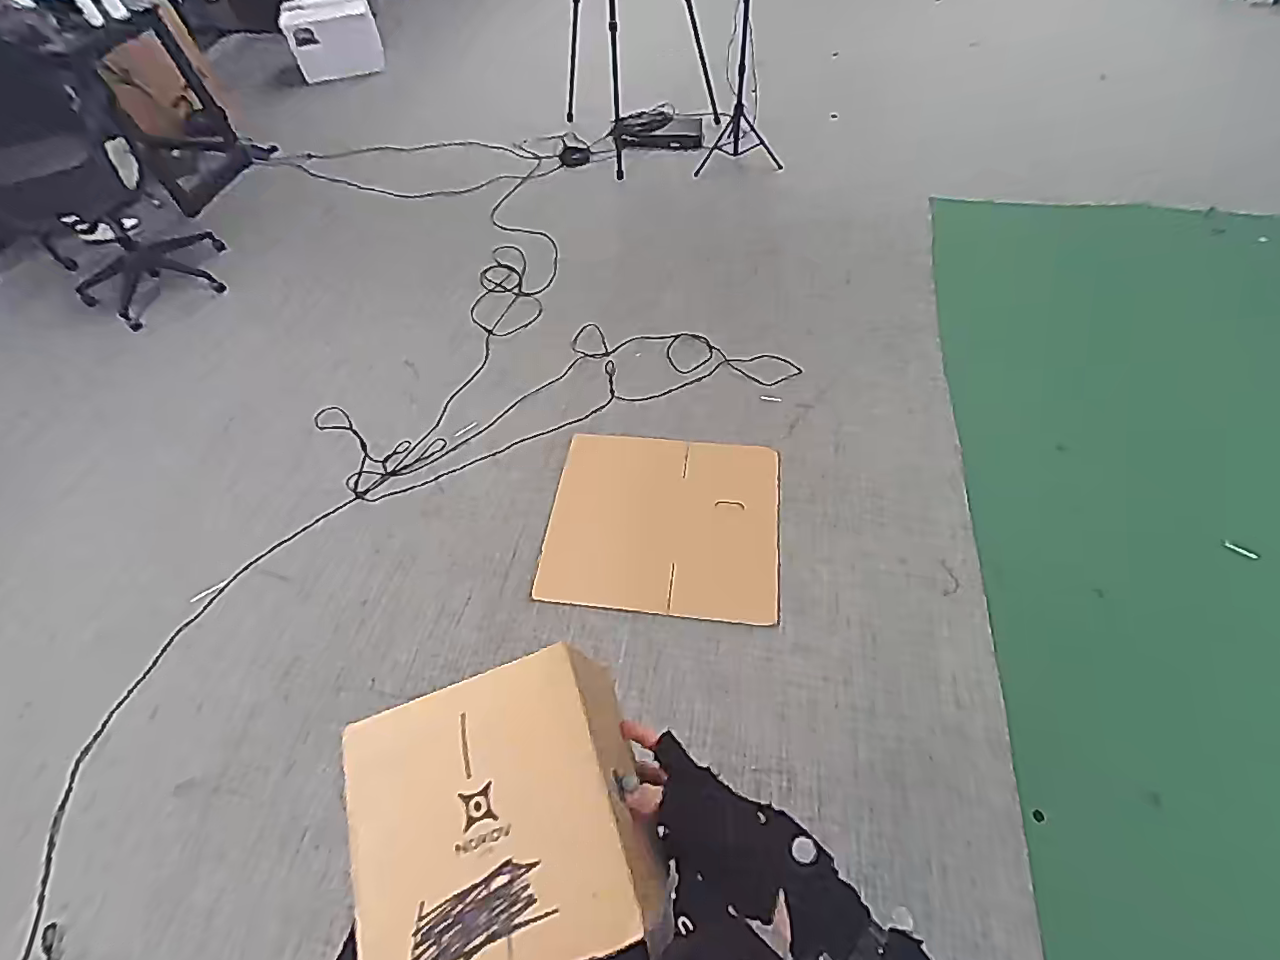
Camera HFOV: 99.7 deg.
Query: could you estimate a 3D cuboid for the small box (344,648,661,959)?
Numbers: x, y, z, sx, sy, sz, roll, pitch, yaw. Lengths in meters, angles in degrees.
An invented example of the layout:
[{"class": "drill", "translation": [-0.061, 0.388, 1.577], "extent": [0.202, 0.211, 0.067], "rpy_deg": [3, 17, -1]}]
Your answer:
[{"class": "small box", "translation": [-0.091, 0.250, 0.413], "extent": [0.168, 0.176, 0.179], "rpy_deg": [-21, 63, -3]}]
